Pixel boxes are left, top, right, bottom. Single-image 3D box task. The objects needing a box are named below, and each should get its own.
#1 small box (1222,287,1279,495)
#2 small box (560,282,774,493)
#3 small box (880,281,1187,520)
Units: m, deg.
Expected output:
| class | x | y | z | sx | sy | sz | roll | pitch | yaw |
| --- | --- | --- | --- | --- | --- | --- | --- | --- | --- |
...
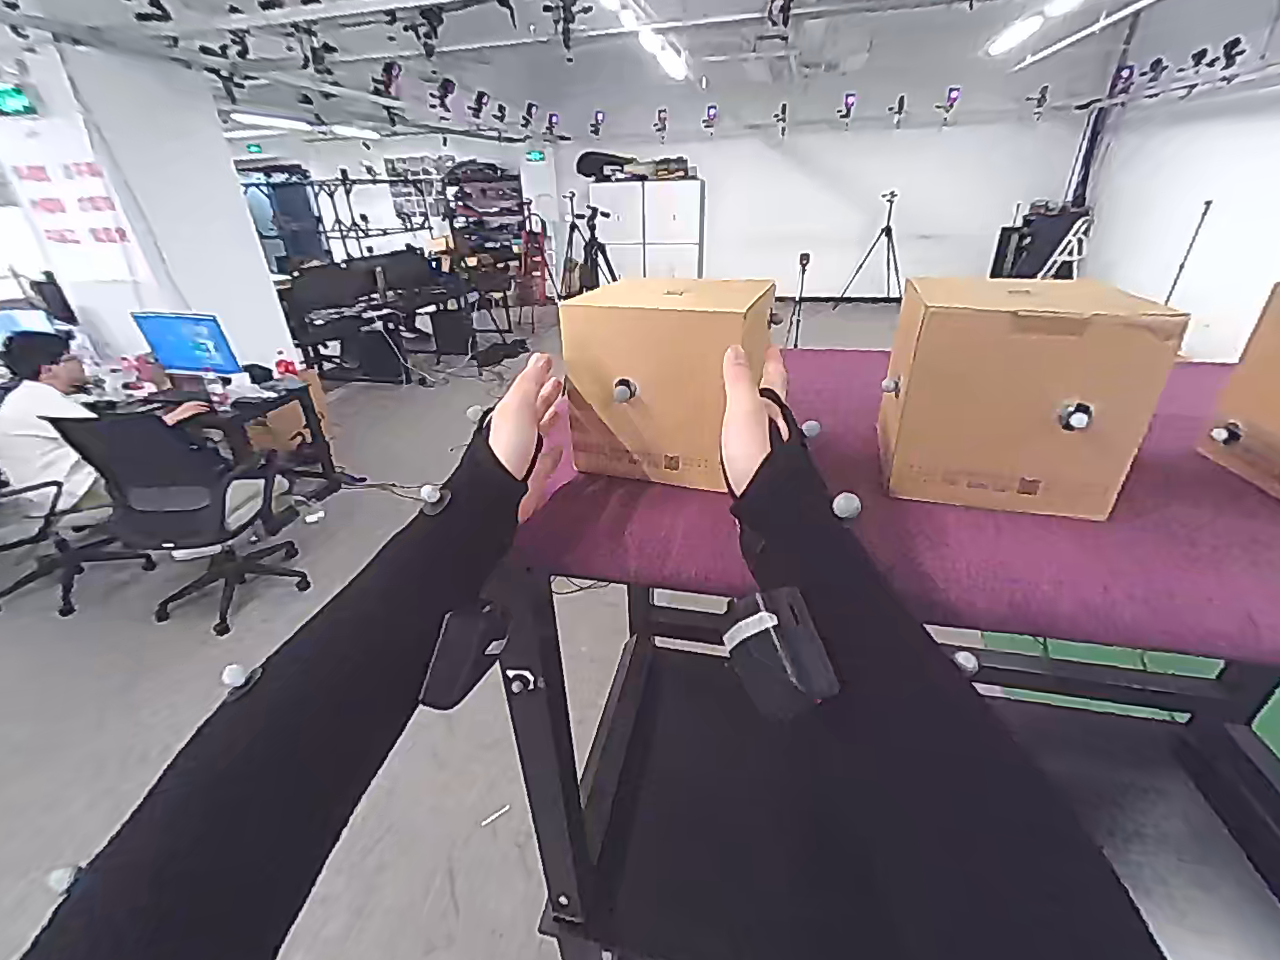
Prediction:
| class | x | y | z | sx | sy | sz | roll | pitch | yaw |
| --- | --- | --- | --- | --- | --- | --- | --- | --- | --- |
| small box | 0.626 | -0.057 | 0.422 | 0.179 | 0.176 | 0.168 | 5 | 28 | 12 |
| small box | 0.038 | -0.102 | 0.551 | 0.168 | 0.176 | 0.179 | 8 | 29 | 18 |
| small box | 0.322 | -0.081 | 0.491 | 0.168 | 0.176 | 0.179 | 8 | 29 | 18 |
